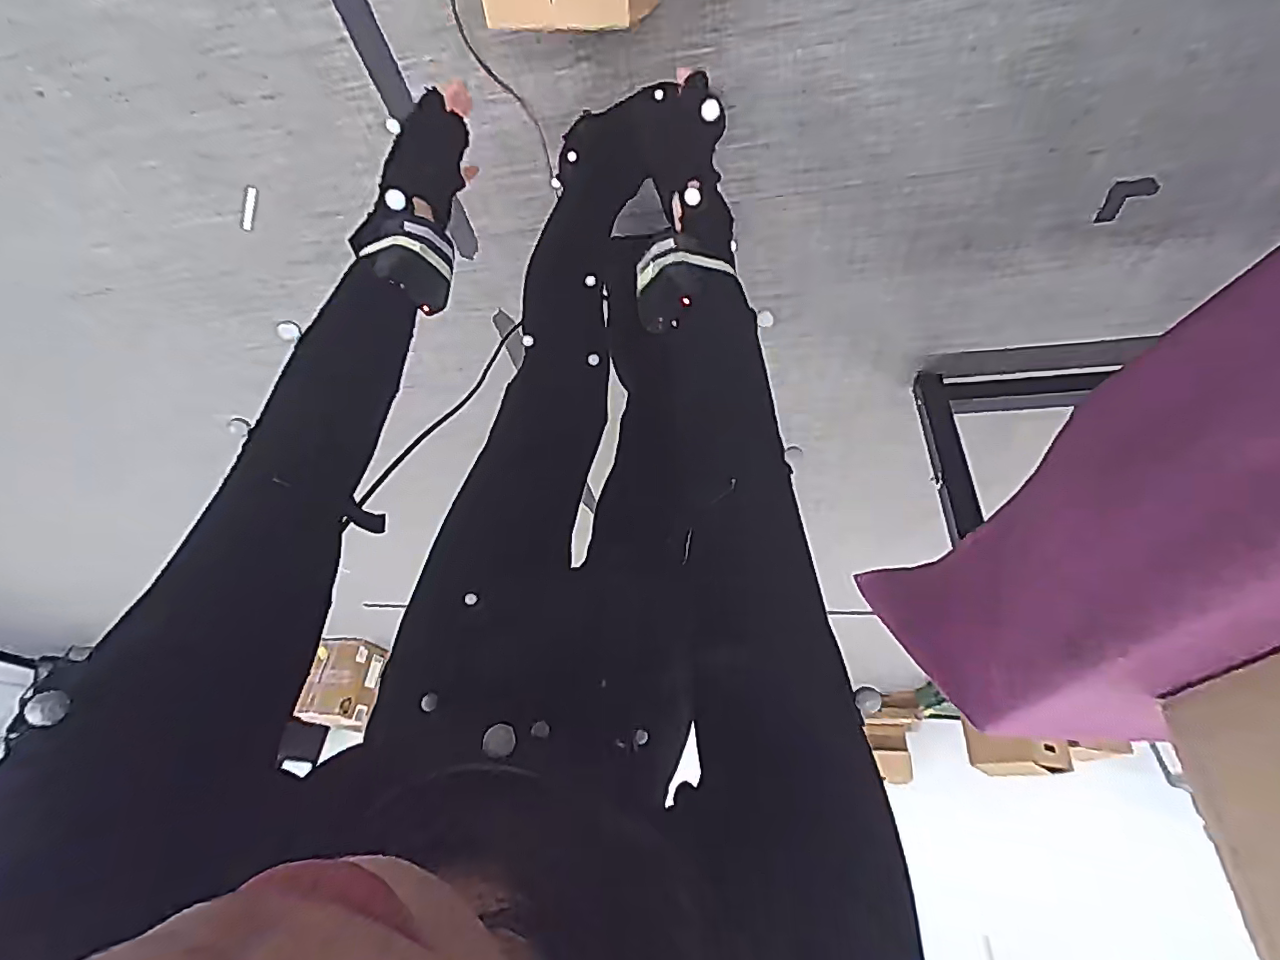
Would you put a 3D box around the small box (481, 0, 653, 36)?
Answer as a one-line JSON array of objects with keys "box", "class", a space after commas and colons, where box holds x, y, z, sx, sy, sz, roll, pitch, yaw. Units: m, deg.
[{"box": [-0.076, -0.603, 0.571, 0.168, 0.176, 0.179, 10, 144, 10], "class": "small box"}]
